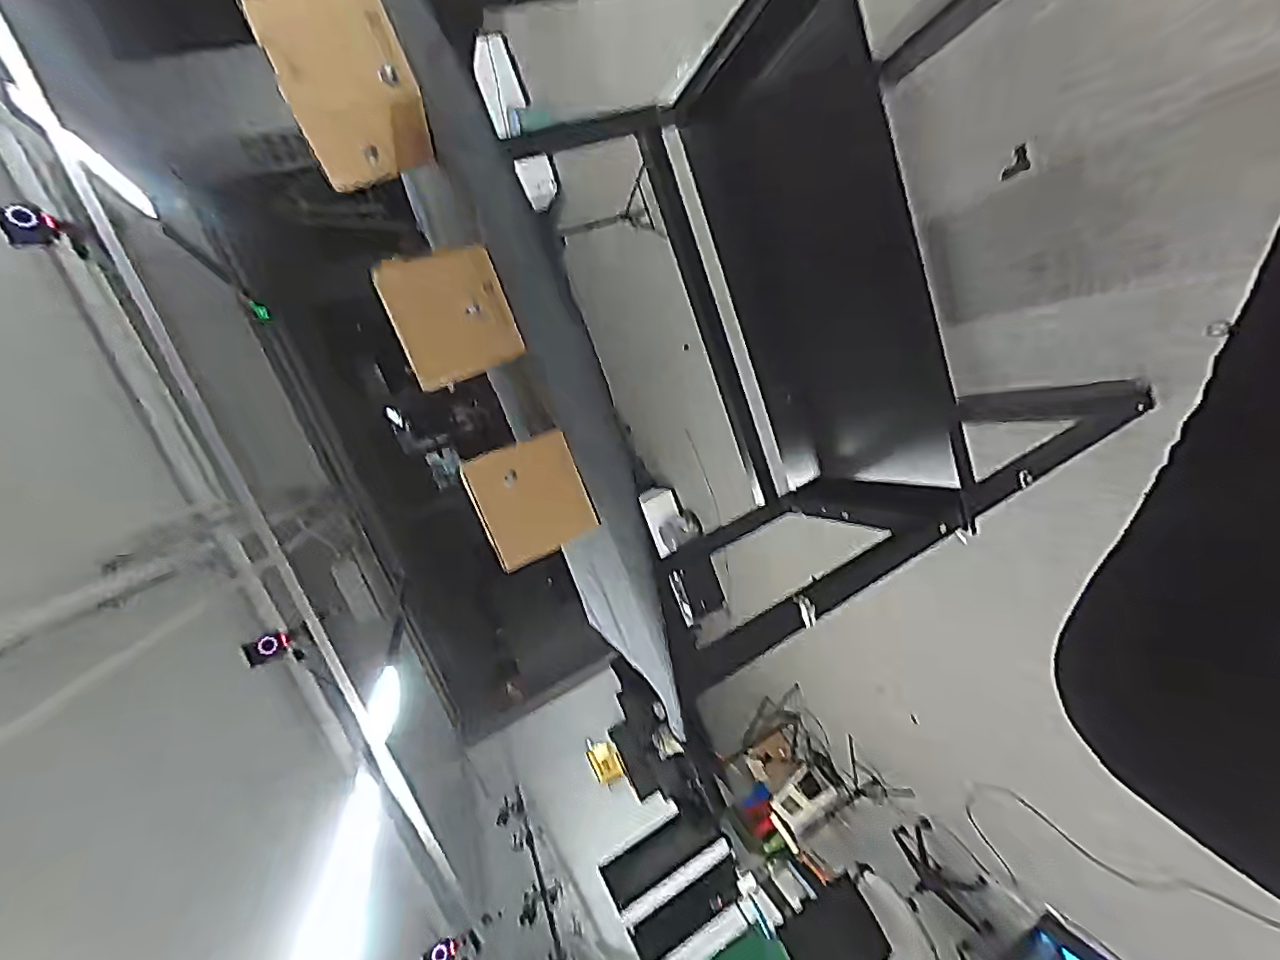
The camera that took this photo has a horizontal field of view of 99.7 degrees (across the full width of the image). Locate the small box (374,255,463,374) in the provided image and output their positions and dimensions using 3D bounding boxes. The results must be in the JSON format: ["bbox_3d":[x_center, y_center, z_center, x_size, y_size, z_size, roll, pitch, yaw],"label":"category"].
[{"bbox_3d":[-0.404,-0.327,1.081,0.168,0.176,0.179,69,162,-9],"label":"small box"}]

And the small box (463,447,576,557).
[{"bbox_3d":[-0.260,0.038,1.162,0.168,0.176,0.179,12,126,68],"label":"small box"}]

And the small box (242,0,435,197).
[{"bbox_3d":[-0.421,-0.558,0.792,0.168,0.176,0.179,67,168,-7],"label":"small box"}]

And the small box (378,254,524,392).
[{"bbox_3d":[-0.305,-0.251,0.891,0.179,0.176,0.168,19,132,68],"label":"small box"}]
